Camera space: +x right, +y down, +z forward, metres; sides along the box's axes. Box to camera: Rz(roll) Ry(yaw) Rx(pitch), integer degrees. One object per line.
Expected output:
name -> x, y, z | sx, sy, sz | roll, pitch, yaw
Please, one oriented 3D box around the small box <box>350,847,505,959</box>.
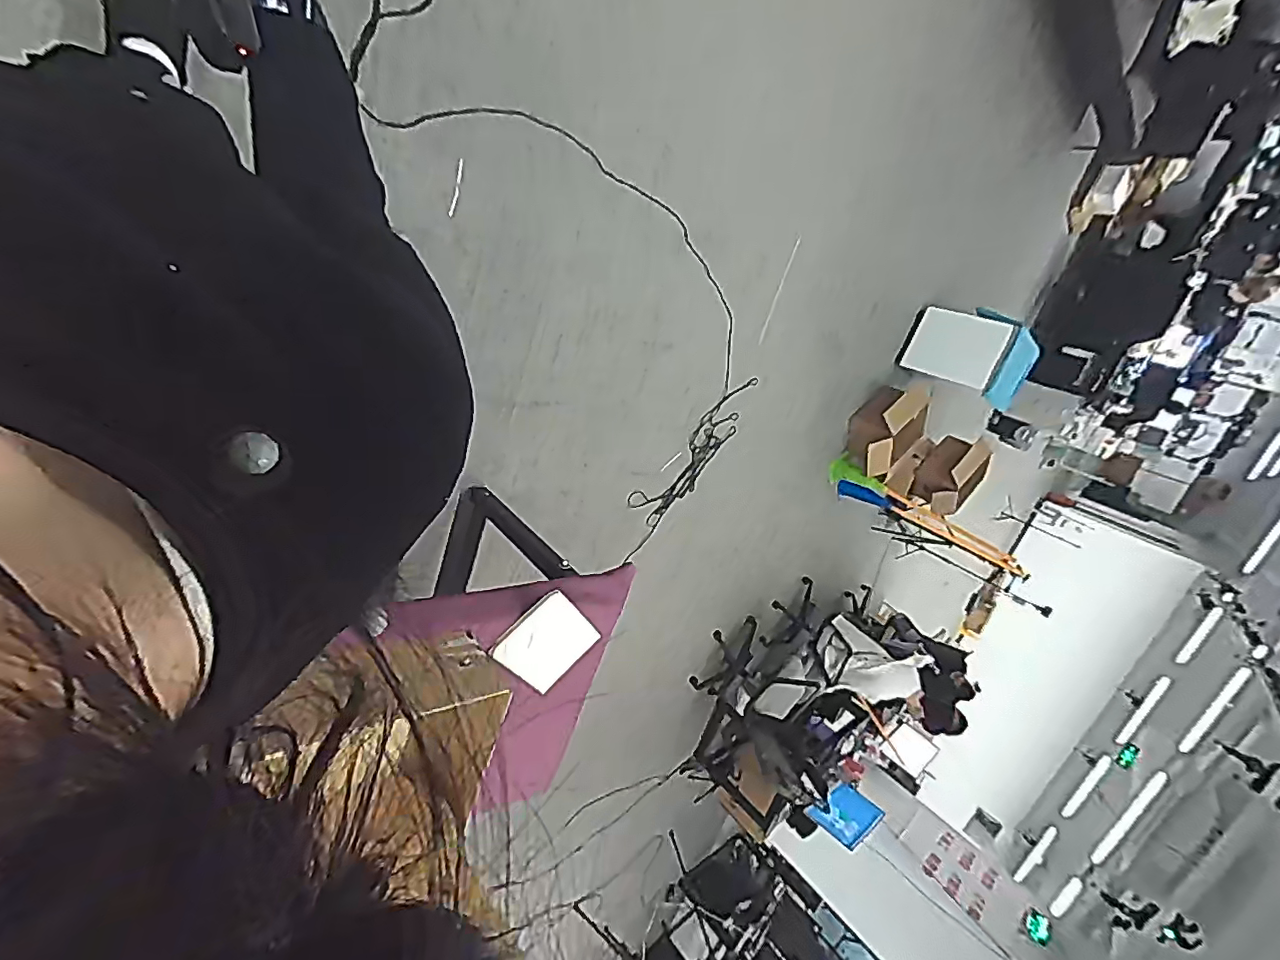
small box -> -0.356, 0.755, 0.895 | 0.168, 0.176, 0.179 | 6, 109, -48
